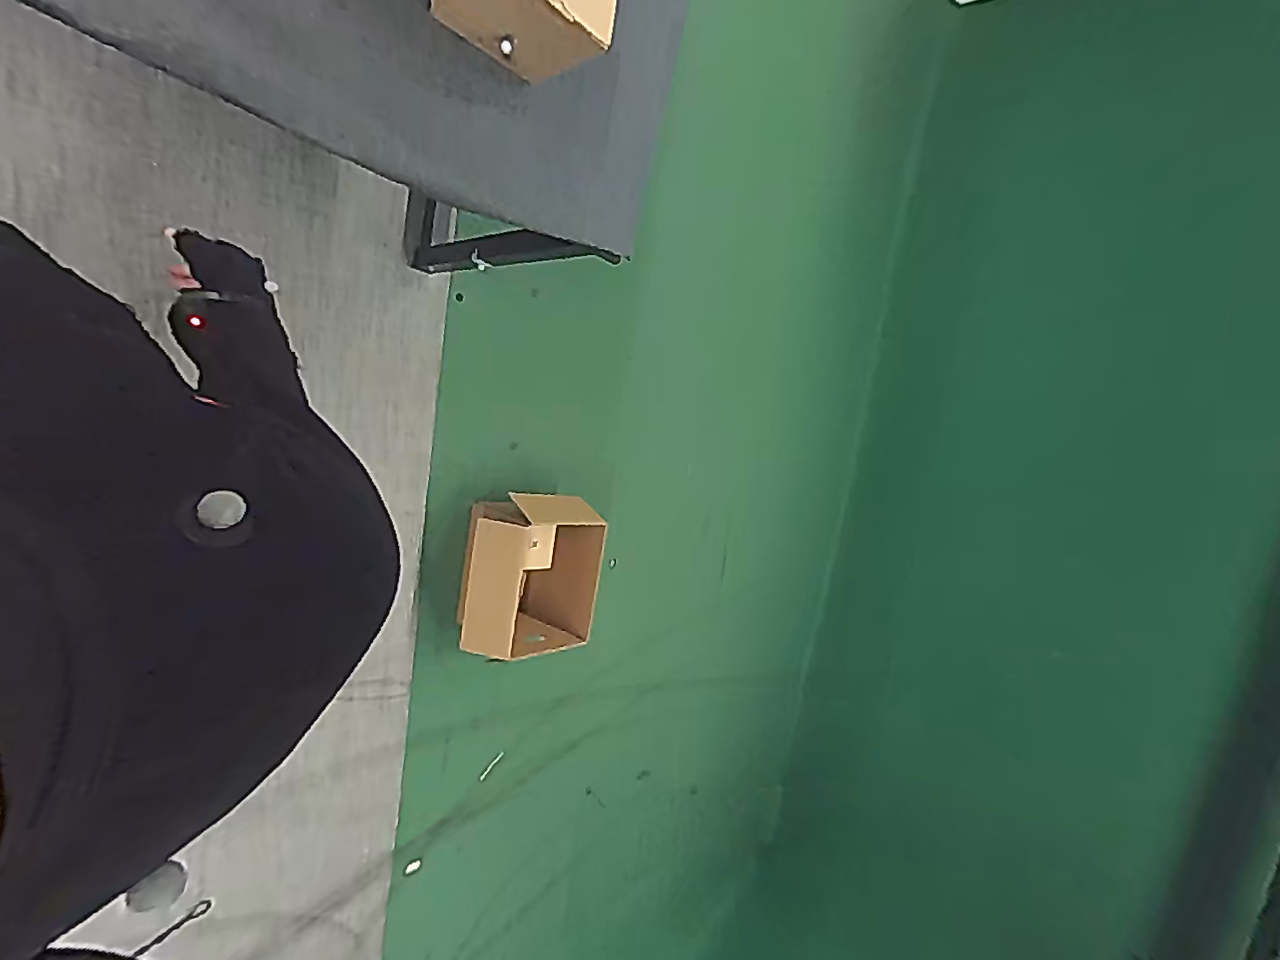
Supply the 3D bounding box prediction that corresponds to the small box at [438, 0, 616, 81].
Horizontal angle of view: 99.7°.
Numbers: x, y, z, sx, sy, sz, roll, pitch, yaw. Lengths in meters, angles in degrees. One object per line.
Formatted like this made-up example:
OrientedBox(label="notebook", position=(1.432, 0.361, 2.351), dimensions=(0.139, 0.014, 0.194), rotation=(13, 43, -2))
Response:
OrientedBox(label="small box", position=(-0.140, -0.664, 0.688), dimensions=(0.168, 0.176, 0.179), rotation=(2, 100, -48))
